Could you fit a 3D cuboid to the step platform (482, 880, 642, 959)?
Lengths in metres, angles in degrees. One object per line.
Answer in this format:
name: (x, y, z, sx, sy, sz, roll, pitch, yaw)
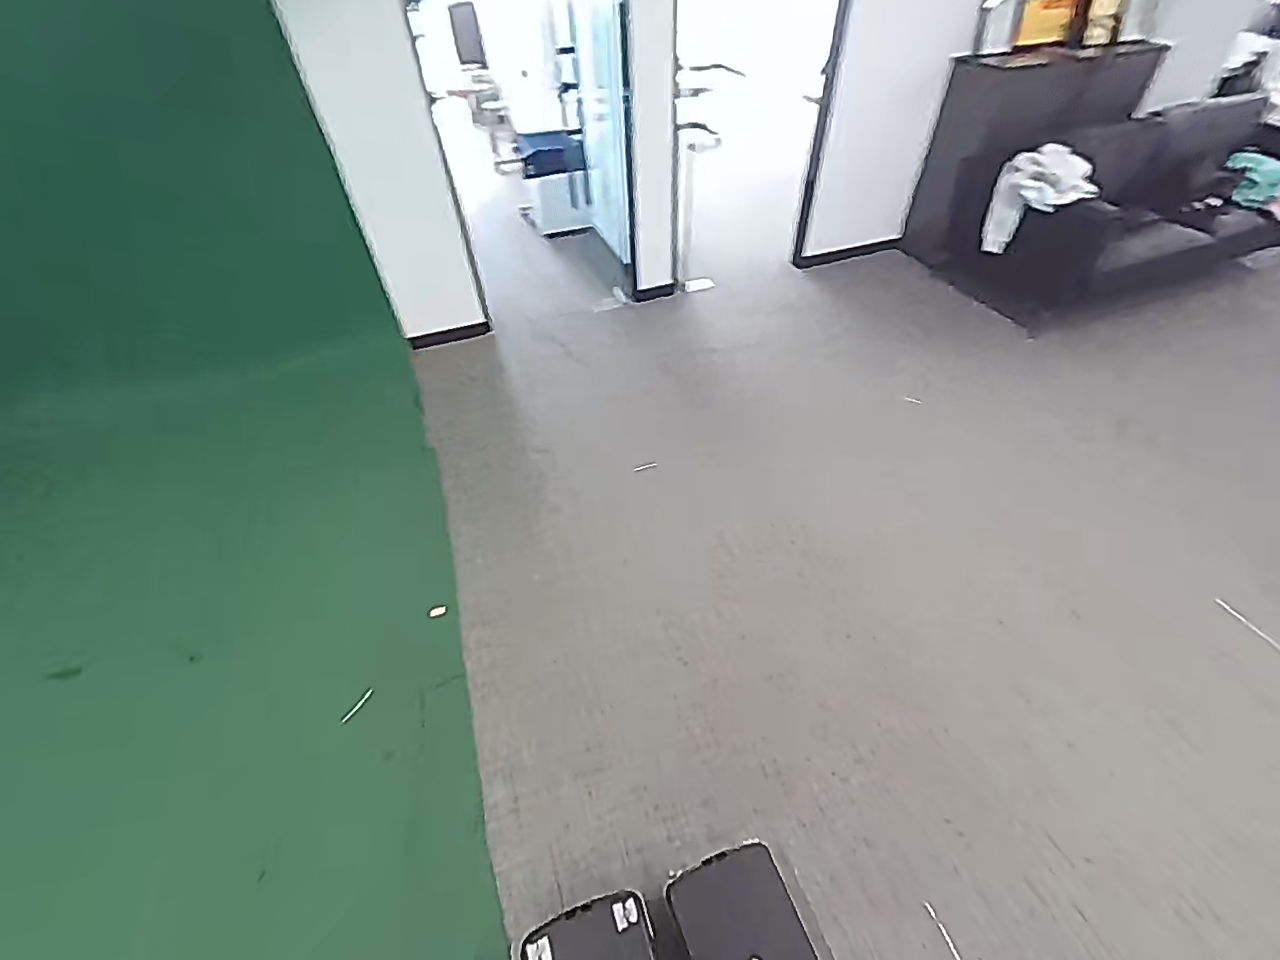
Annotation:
step platform: (-0.056, 1.095, 0.882, 0.286, 0.204, 0.684, -15, 48, -14)
